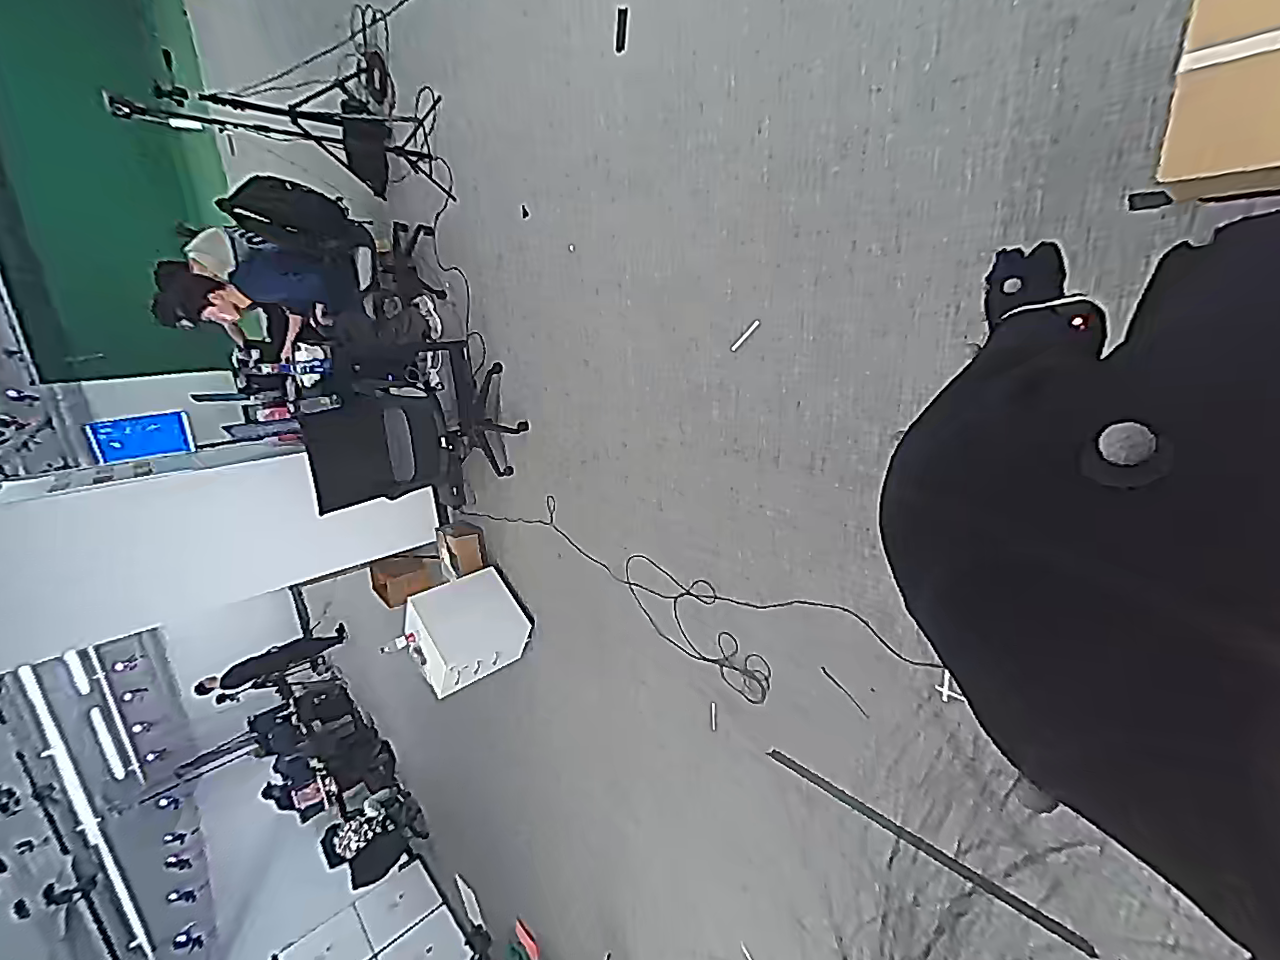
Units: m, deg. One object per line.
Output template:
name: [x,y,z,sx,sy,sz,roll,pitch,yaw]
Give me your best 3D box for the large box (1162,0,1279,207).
large box: [1.032,-0.594,0.745,0.408,0.320,0.320,15,115,44]
